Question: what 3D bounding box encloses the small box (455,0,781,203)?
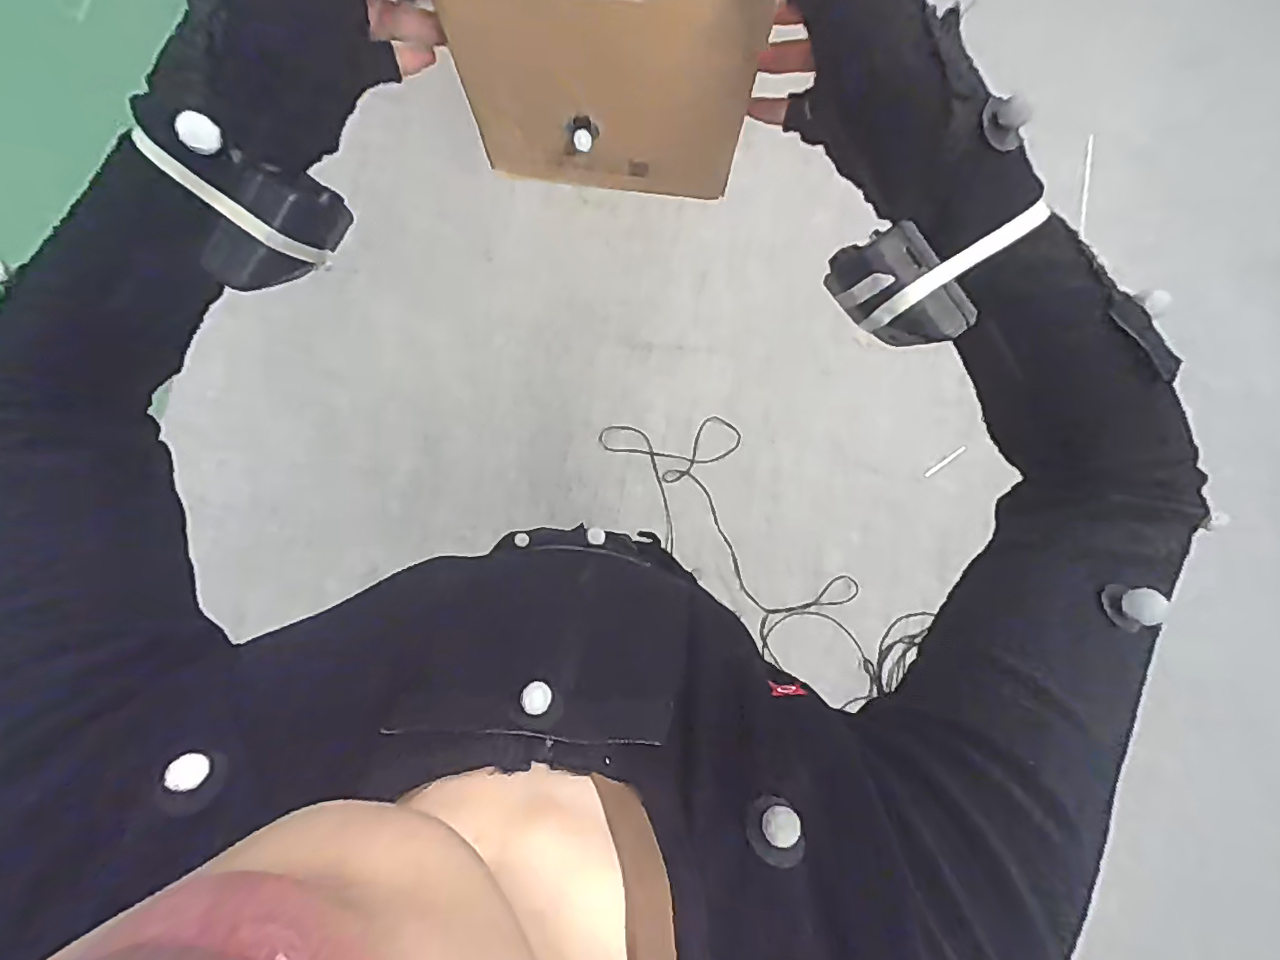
[{"bbox_3d":[-0.009,-0.303,0.321,0.168,0.176,0.179,6,84,0],"label":"small box"}]
